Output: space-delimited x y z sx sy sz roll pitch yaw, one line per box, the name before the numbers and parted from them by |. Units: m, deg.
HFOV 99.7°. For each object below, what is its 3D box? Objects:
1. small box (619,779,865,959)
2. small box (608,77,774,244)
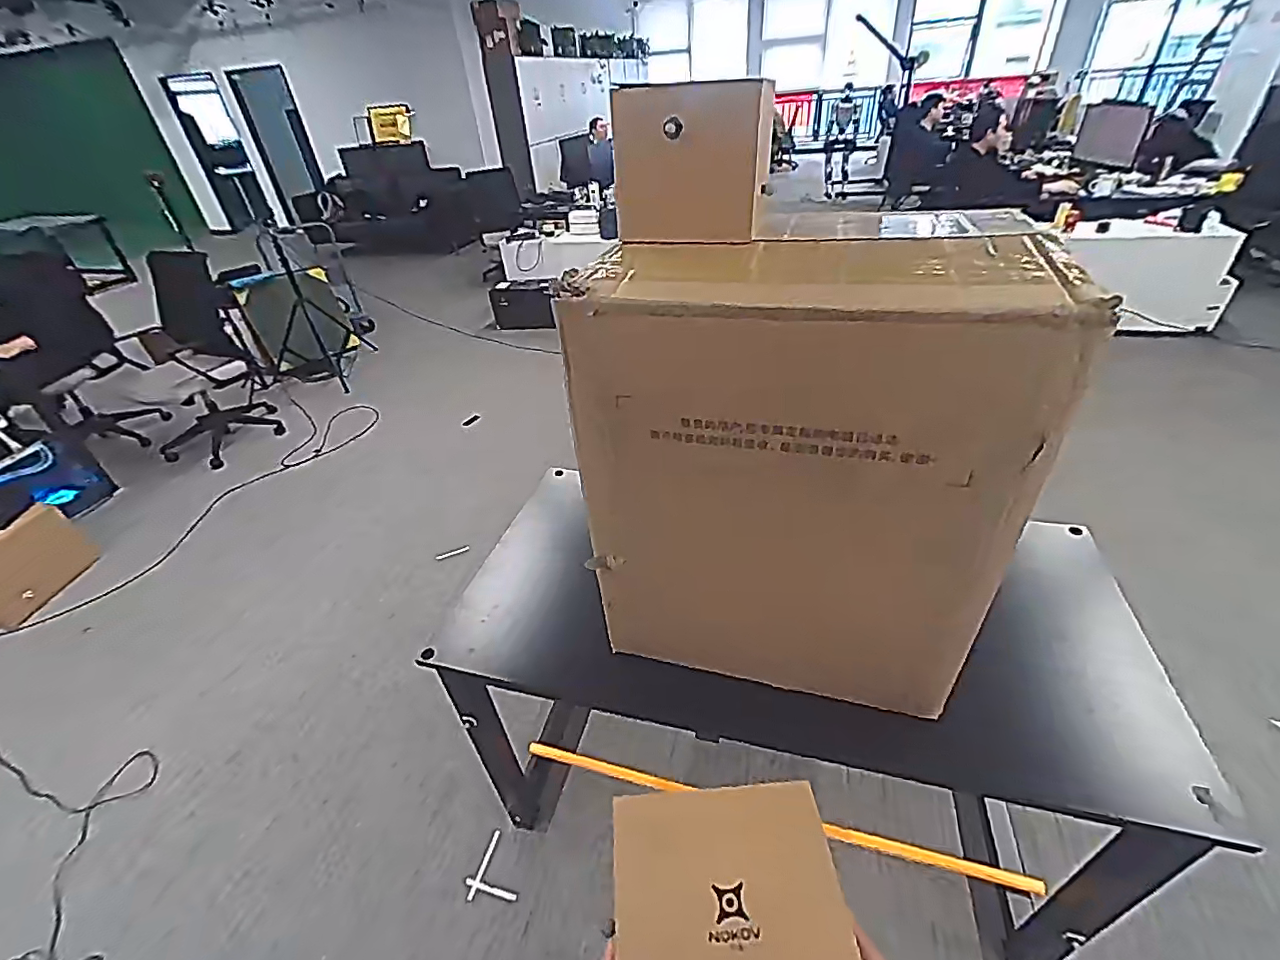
small box | 0.072 0.369 0.426 0.168 0.176 0.179 -6 36 1
small box | 0.072 -0.411 0.704 0.179 0.176 0.168 8 36 15
